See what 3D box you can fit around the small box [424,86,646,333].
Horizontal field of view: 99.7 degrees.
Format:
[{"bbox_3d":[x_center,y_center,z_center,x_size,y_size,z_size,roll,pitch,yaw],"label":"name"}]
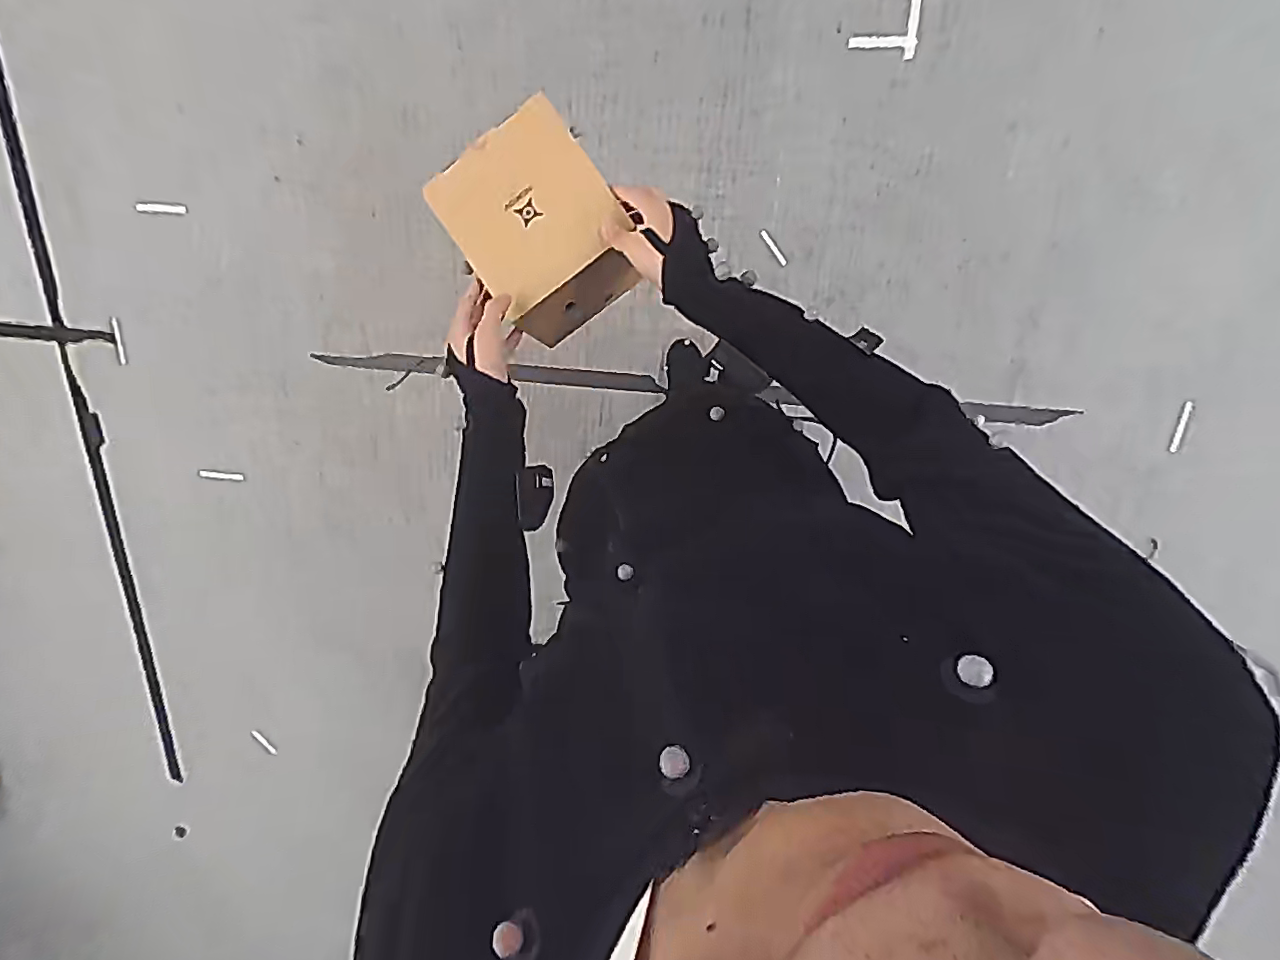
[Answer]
[{"bbox_3d":[-0.106,-0.292,0.636,0.168,0.176,0.179,-34,90,6],"label":"small box"}]
